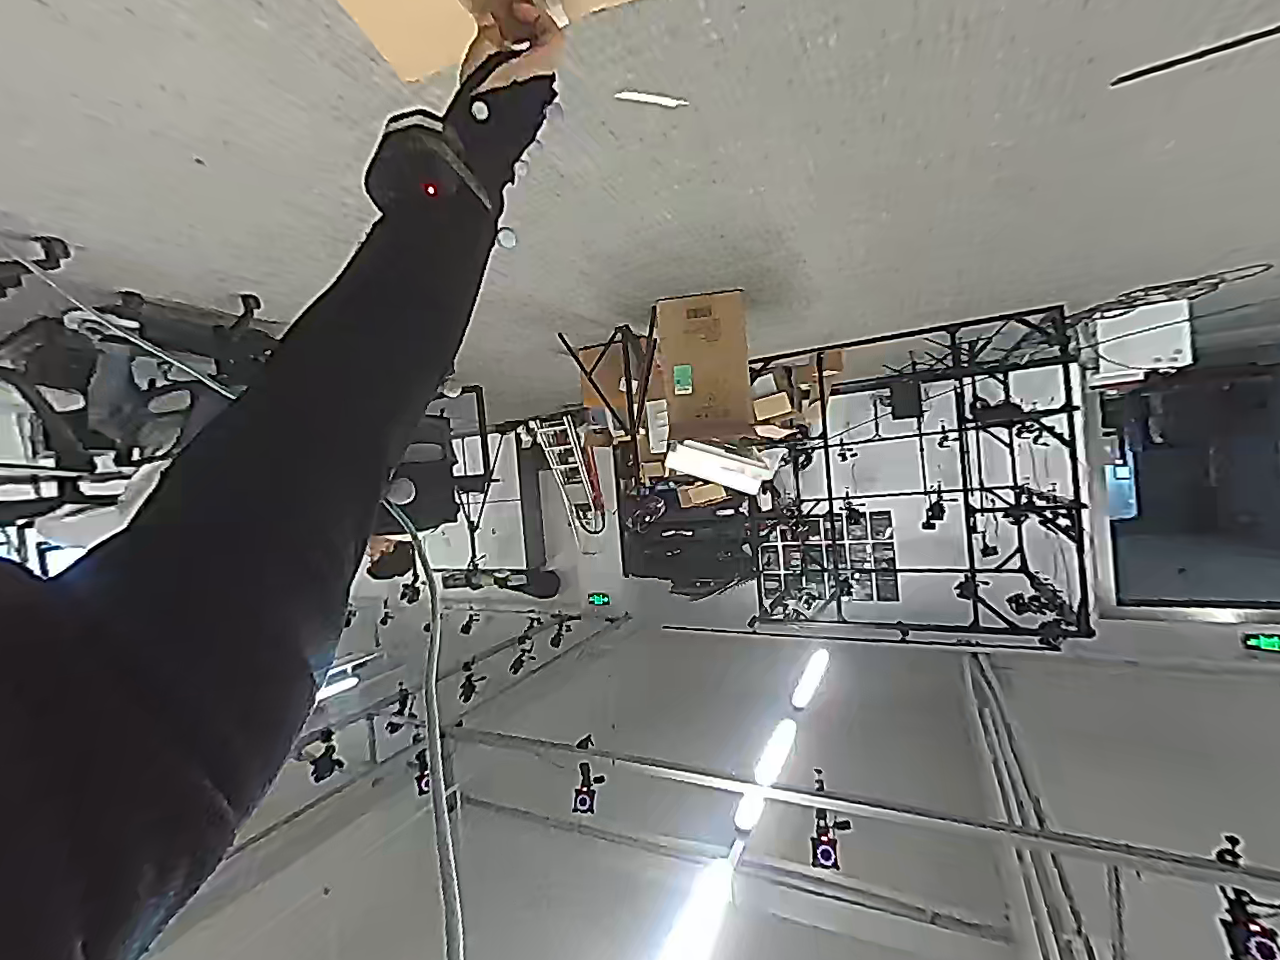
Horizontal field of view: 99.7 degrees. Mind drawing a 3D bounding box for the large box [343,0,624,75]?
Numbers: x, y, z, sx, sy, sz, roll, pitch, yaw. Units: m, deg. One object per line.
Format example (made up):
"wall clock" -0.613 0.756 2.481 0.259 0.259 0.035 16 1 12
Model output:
"large box" -0.143 -0.563 0.297 0.320 0.320 0.408 -7 174 14
